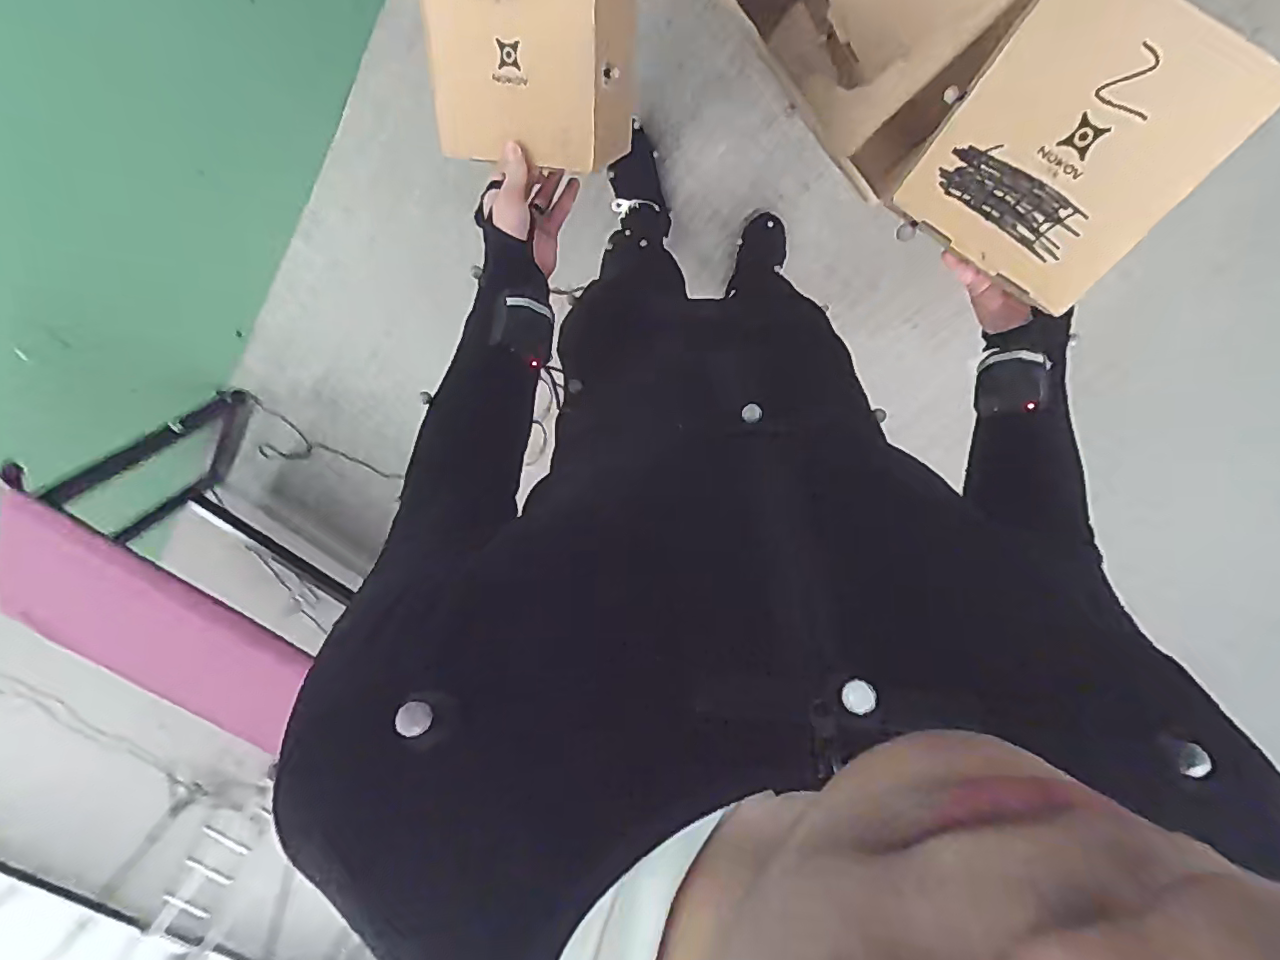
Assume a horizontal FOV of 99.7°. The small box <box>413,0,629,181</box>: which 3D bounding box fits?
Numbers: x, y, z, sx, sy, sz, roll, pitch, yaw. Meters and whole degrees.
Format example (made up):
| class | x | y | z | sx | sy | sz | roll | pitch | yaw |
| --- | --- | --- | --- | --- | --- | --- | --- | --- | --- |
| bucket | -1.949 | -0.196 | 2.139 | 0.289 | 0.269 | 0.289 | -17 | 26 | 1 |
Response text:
| class | x | y | z | sx | sy | sz | roll | pitch | yaw |
| --- | --- | --- | --- | --- | --- | --- | --- | --- | --- |
| small box | -0.110 | -0.434 | 0.565 | 0.168 | 0.176 | 0.179 | 10 | 129 | 7 |
